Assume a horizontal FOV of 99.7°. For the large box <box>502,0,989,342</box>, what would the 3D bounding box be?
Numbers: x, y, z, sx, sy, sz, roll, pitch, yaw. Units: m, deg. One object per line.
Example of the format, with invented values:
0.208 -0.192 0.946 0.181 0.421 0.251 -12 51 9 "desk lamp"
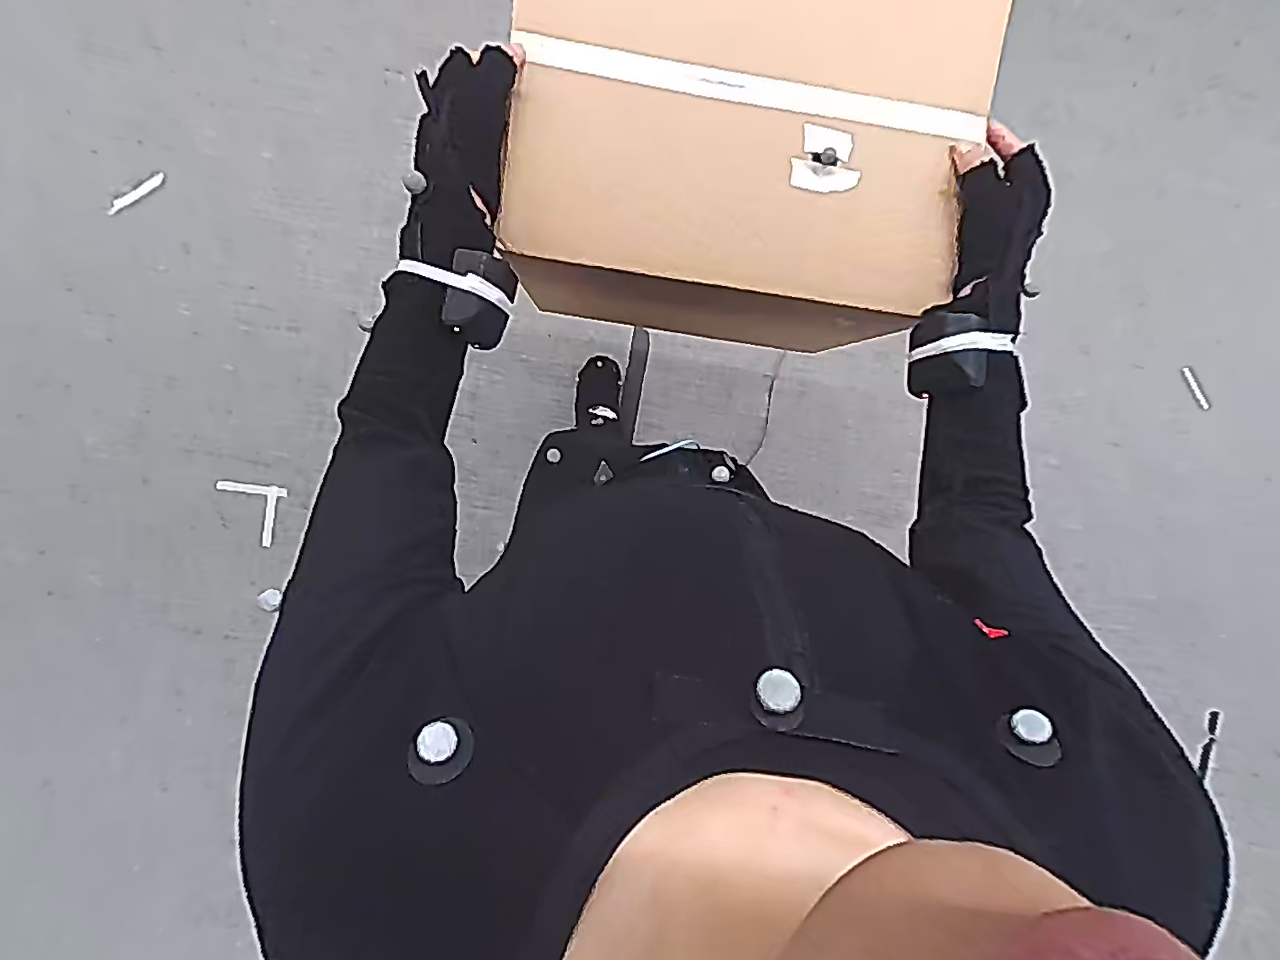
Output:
0.081 -0.353 0.613 0.408 0.320 0.320 7 99 -5 "large box"
